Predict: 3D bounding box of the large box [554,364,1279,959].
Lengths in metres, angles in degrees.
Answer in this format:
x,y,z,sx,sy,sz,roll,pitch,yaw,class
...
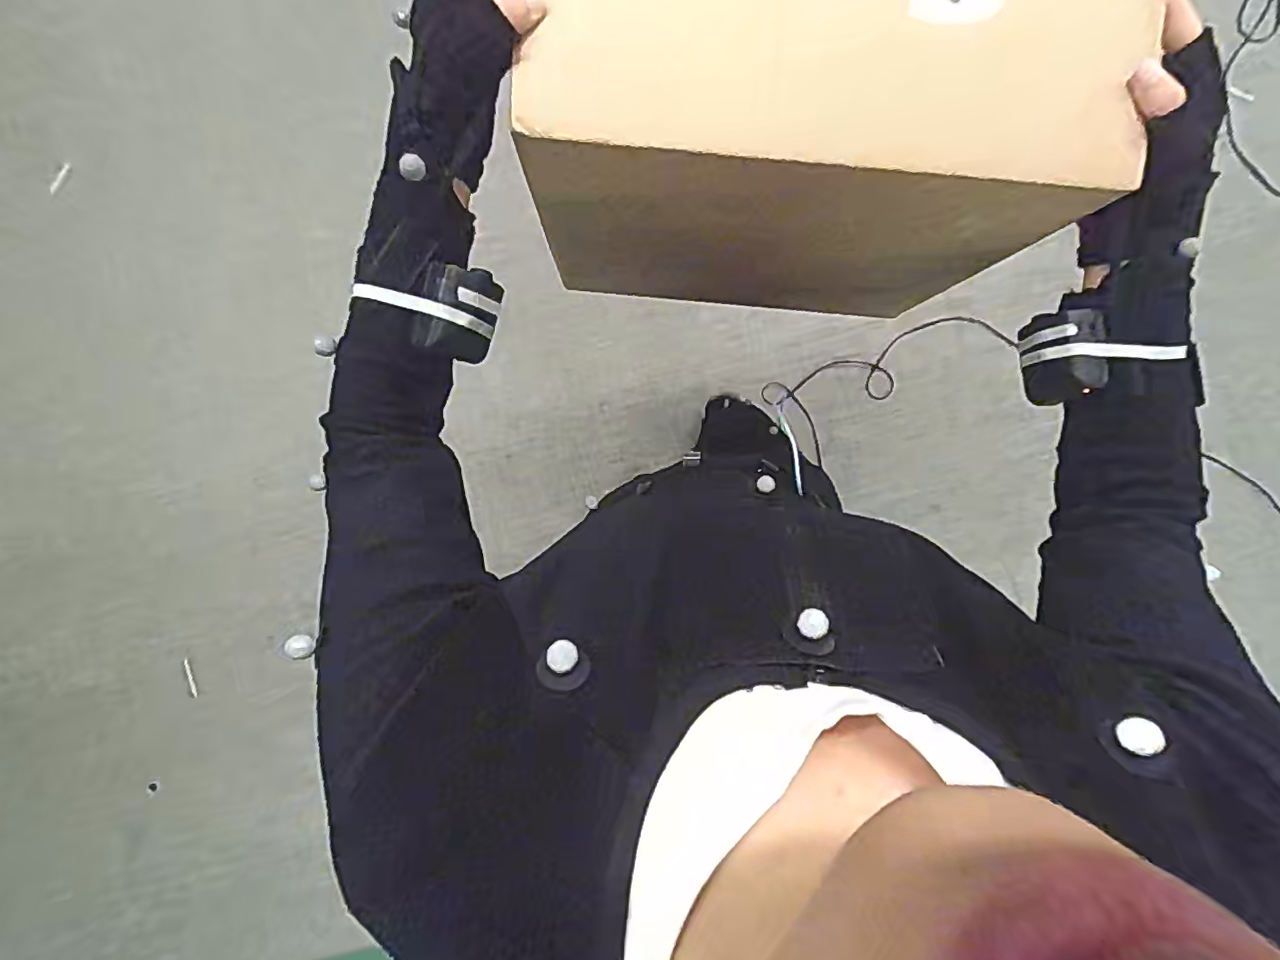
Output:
x,y,z,sx,sy,sz,roll,pitch,yaw,class
0.228,0.187,0.315,0.320,0.320,0.408,16,56,34,large box
